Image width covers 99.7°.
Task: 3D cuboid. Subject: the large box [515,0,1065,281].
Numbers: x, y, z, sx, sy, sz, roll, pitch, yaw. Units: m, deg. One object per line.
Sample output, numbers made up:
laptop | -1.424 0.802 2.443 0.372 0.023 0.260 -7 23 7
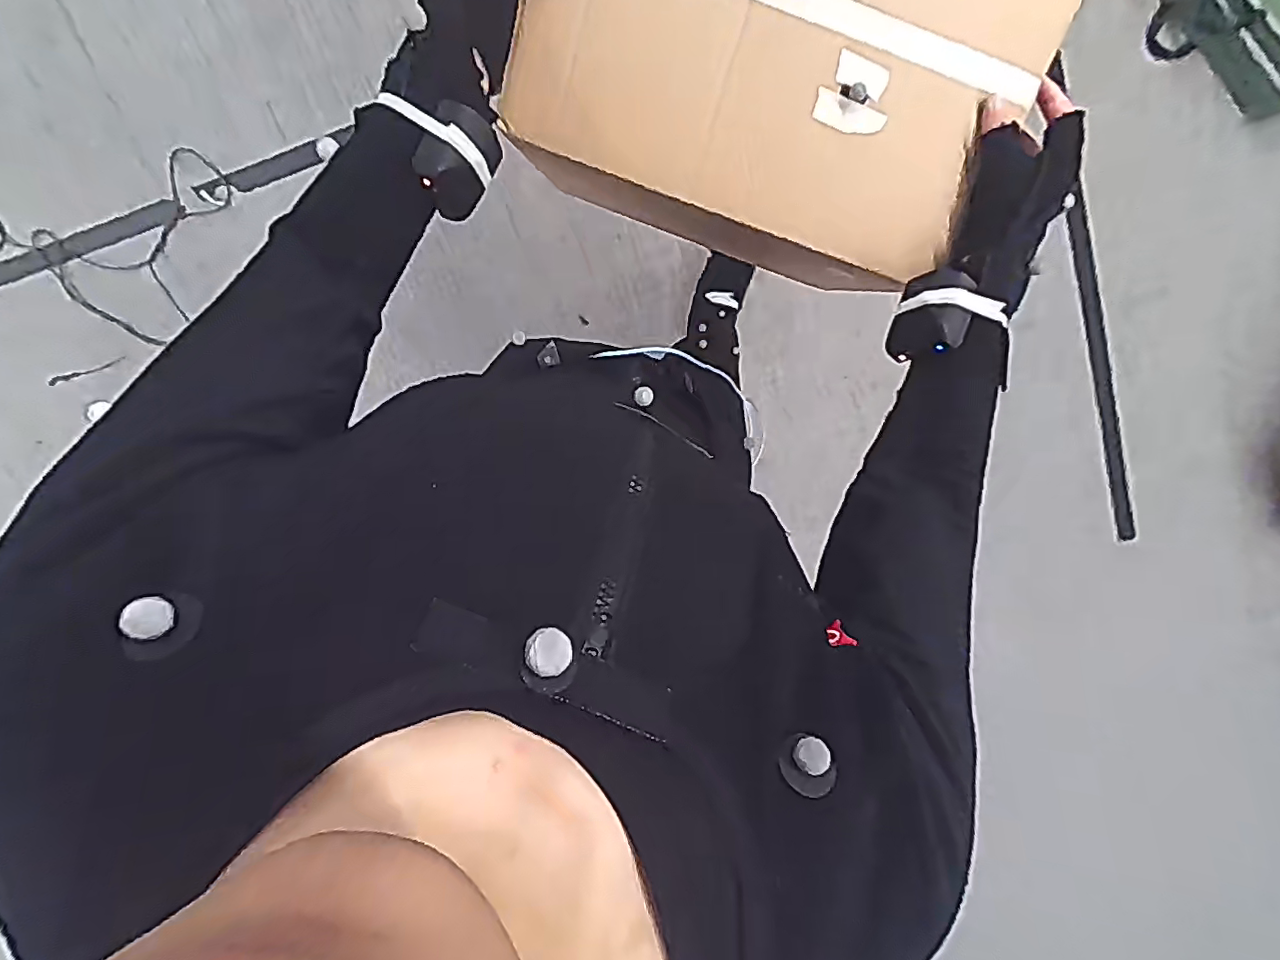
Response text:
large box | 0.124 -0.426 0.568 0.408 0.320 0.320 17 110 -6
